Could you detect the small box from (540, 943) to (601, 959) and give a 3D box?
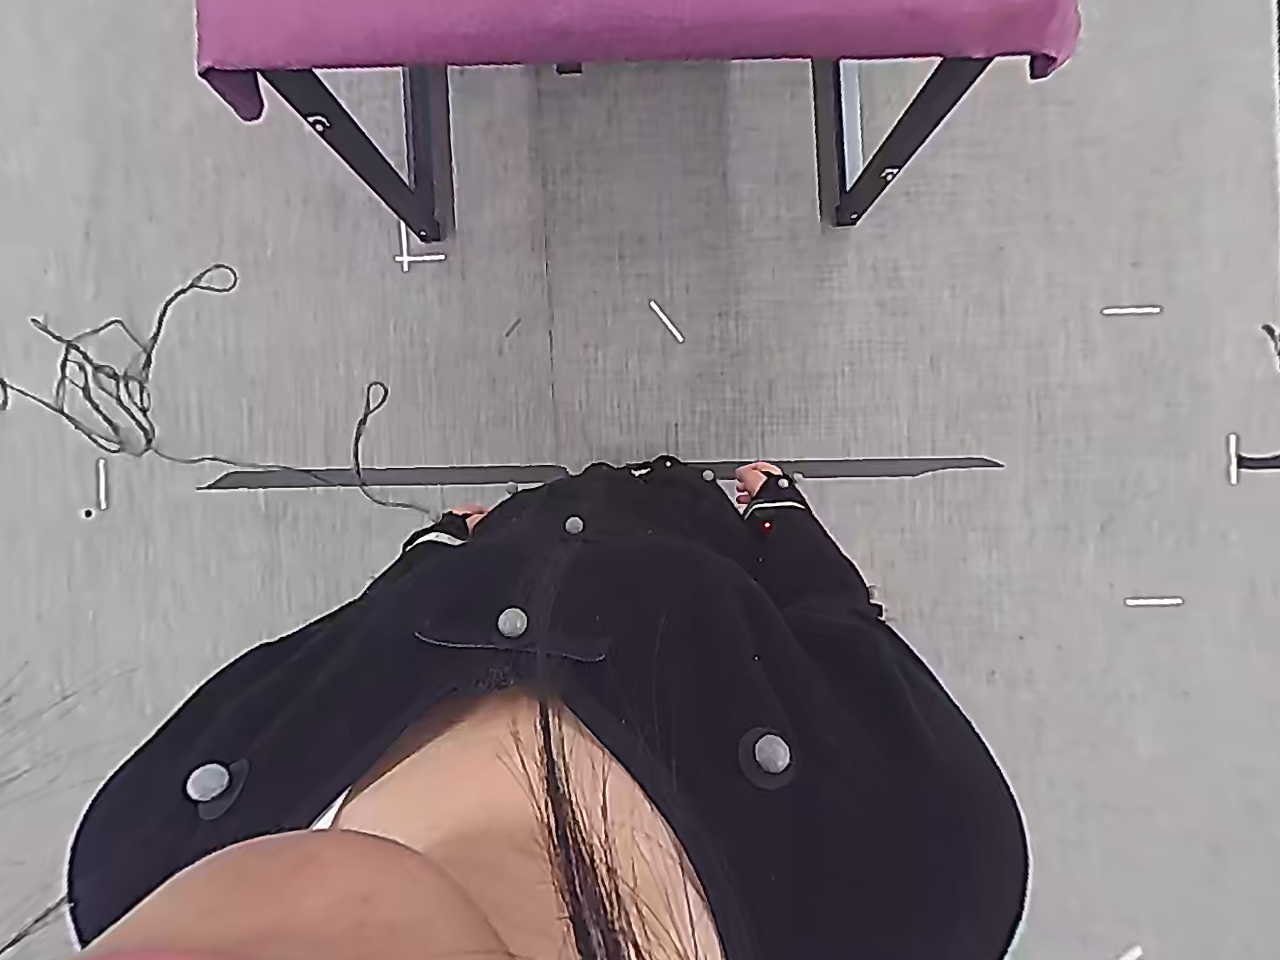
[{"bbox_3d":[-0.180,1.386,1.424,0.168,0.176,0.179,-11,90,-1],"label":"small box"}]
